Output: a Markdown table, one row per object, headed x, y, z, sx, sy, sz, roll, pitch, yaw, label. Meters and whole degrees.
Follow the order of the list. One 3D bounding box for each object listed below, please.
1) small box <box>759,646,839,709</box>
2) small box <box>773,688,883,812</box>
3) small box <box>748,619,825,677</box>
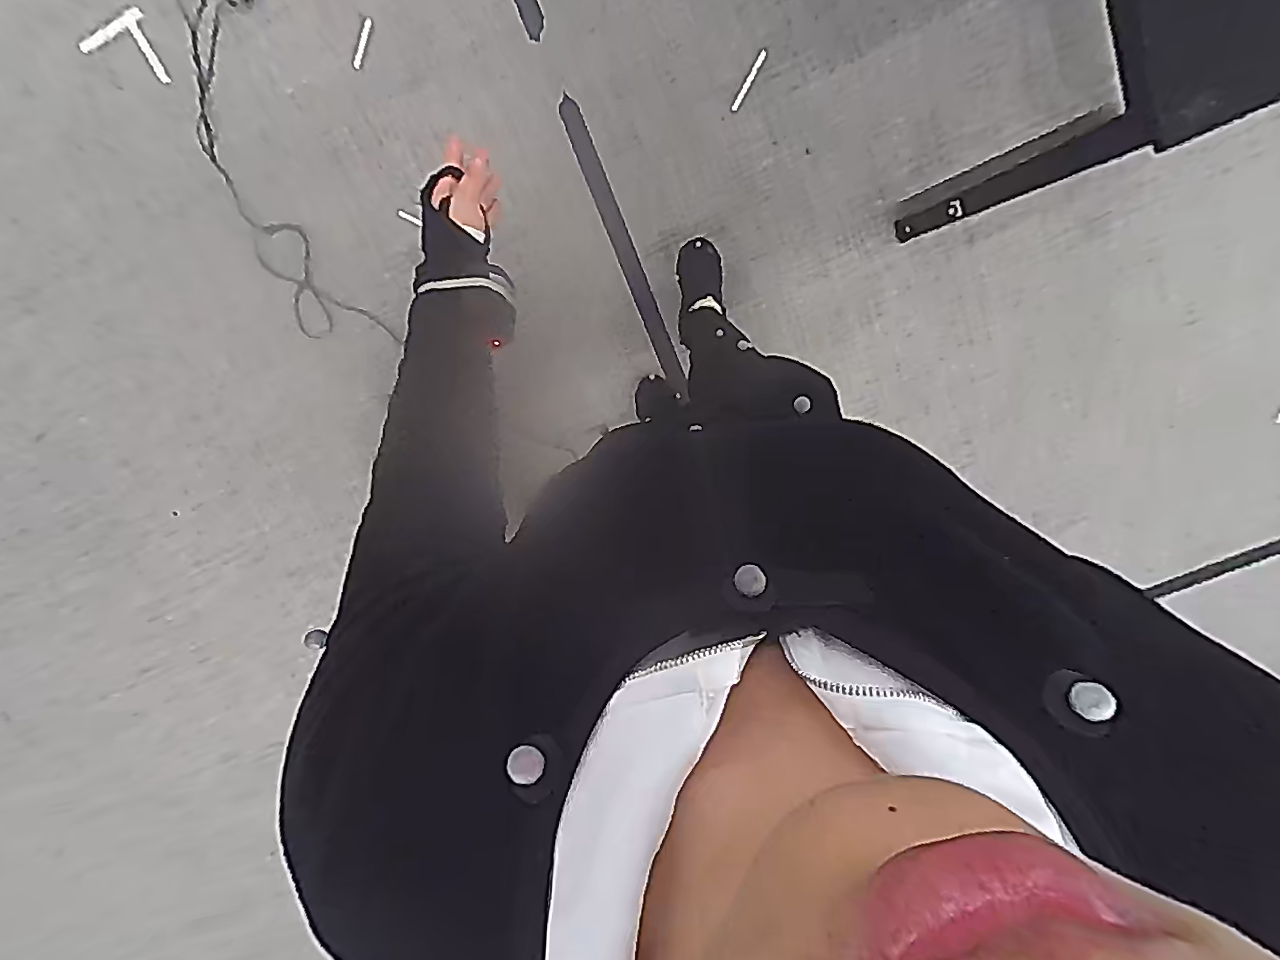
| x | y | z | sx | sy | sz | roll | pitch | yaw | label |
| --- | --- | --- | --- | --- | --- | --- | --- | --- | --- |
| 0.427 | 0.568 | 1.407 | 0.168 | 0.176 | 0.179 | -22 | 102 | 5 | small box |
| 0.426 | 0.611 | 1.250 | 0.168 | 0.176 | 0.179 | -23 | 104 | 7 | small box |
| 0.432 | 0.532 | 1.567 | 0.179 | 0.176 | 0.168 | -22 | 103 | 6 | small box |
